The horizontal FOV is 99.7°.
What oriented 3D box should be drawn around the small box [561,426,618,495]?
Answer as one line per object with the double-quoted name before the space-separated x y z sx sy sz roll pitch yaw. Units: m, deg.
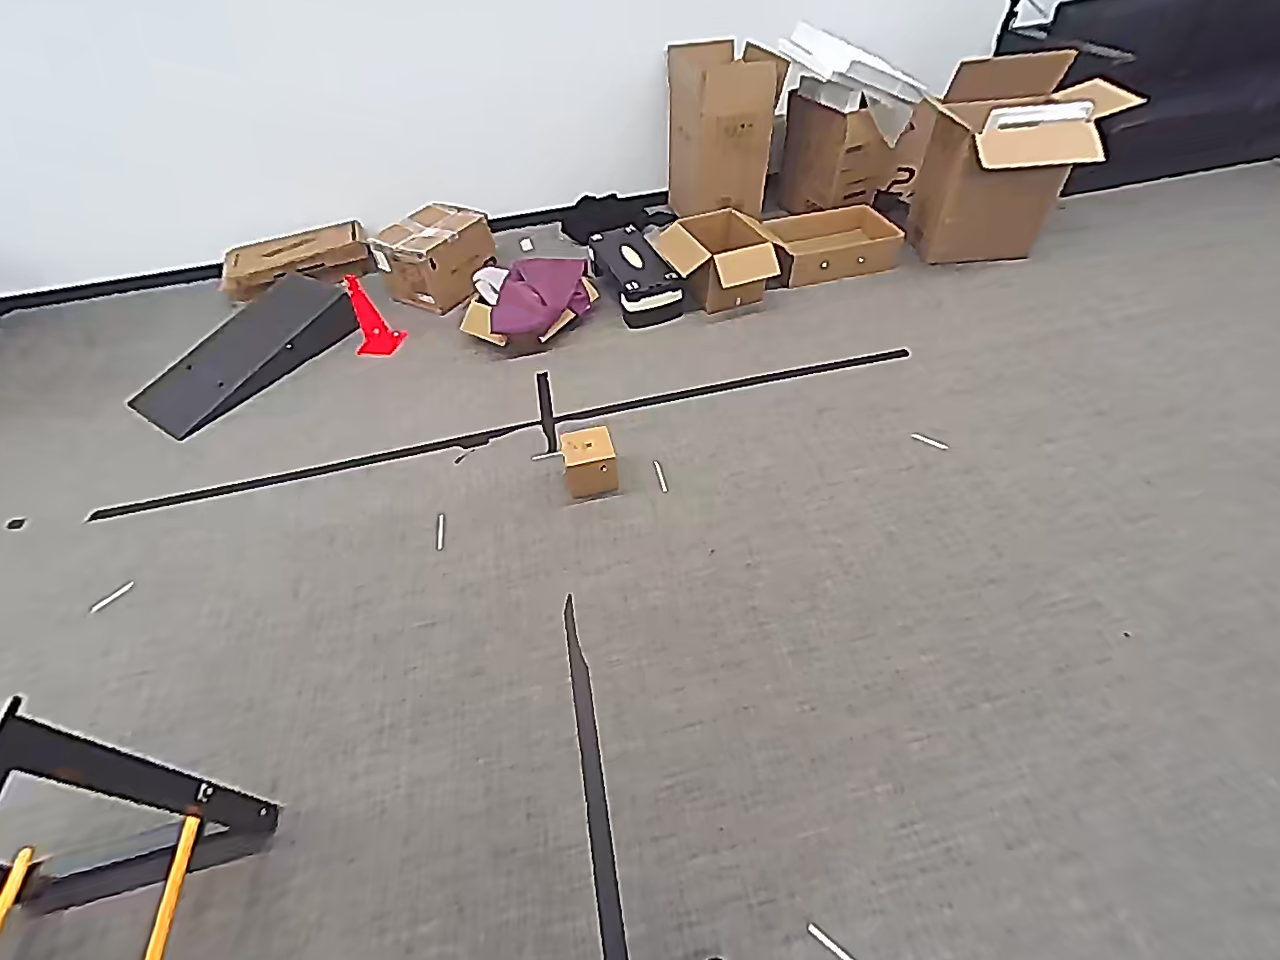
"small box" -0.177 -0.068 1.952 0.179 0.176 0.168 -12 49 -6
